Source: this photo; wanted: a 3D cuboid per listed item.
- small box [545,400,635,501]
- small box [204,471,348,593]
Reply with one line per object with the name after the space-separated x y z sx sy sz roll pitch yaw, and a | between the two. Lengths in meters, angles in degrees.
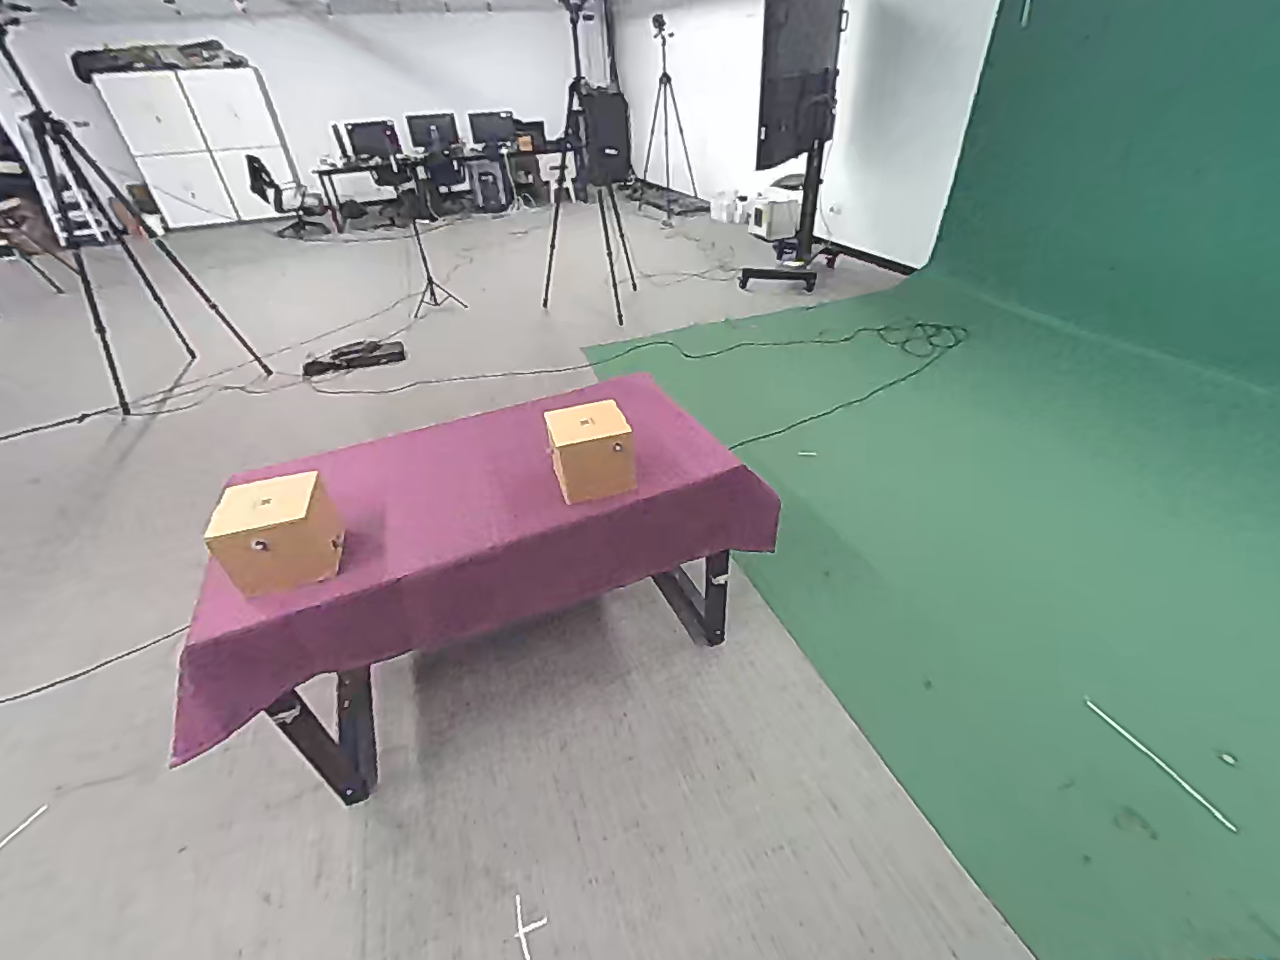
-0.118 -0.069 1.297 0.179 0.176 0.168 -13 38 -13 | small box
-0.732 0.107 1.111 0.179 0.176 0.168 -12 38 -12 | small box
